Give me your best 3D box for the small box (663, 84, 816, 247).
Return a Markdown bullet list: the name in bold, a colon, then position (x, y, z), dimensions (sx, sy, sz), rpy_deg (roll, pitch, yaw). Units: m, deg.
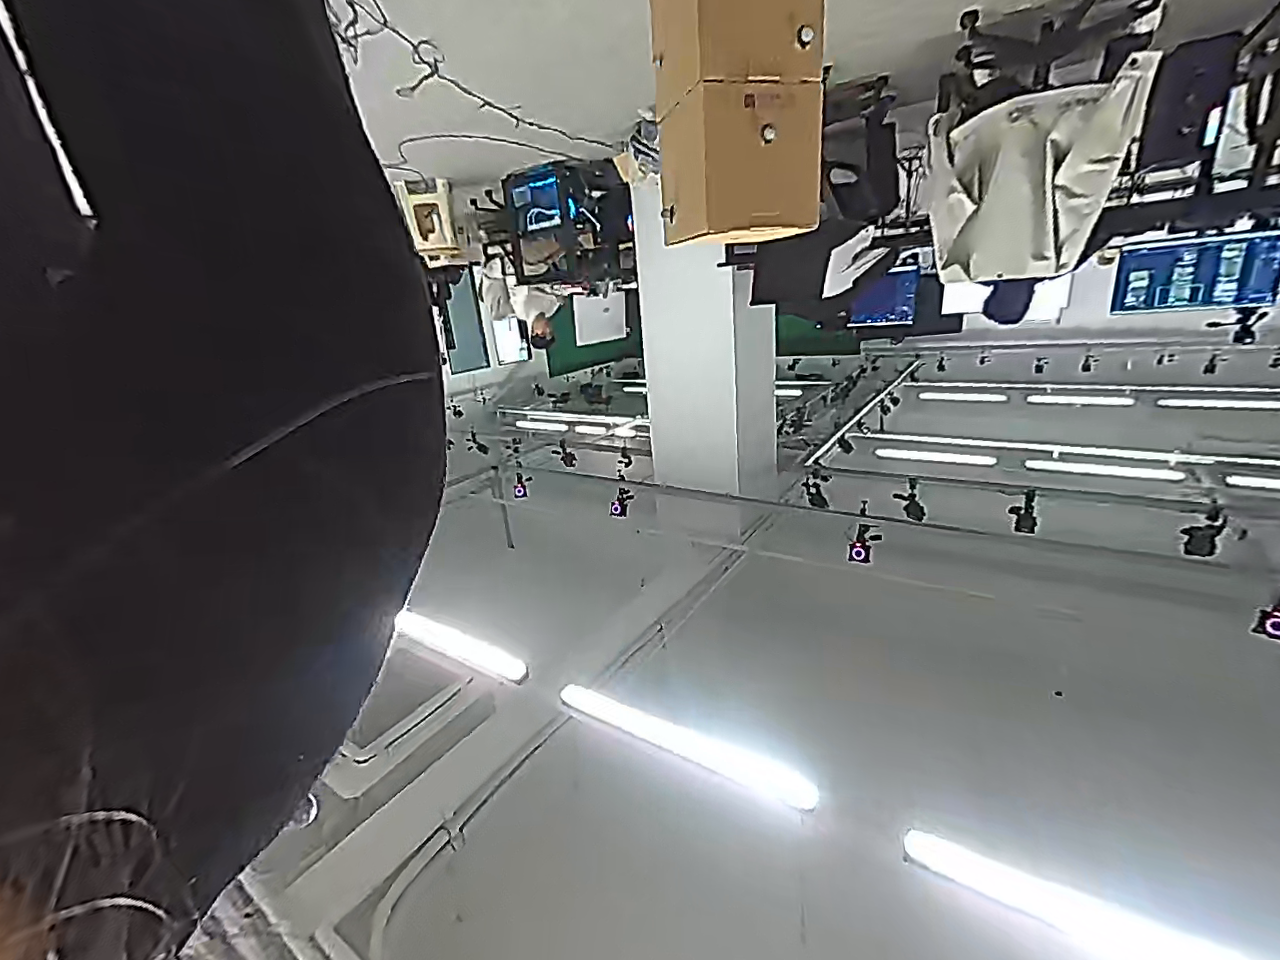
- **small box**: position (0.135, -0.432, 0.764), dimensions (0.168, 0.176, 0.179), rpy_deg (-11, -159, -14)
